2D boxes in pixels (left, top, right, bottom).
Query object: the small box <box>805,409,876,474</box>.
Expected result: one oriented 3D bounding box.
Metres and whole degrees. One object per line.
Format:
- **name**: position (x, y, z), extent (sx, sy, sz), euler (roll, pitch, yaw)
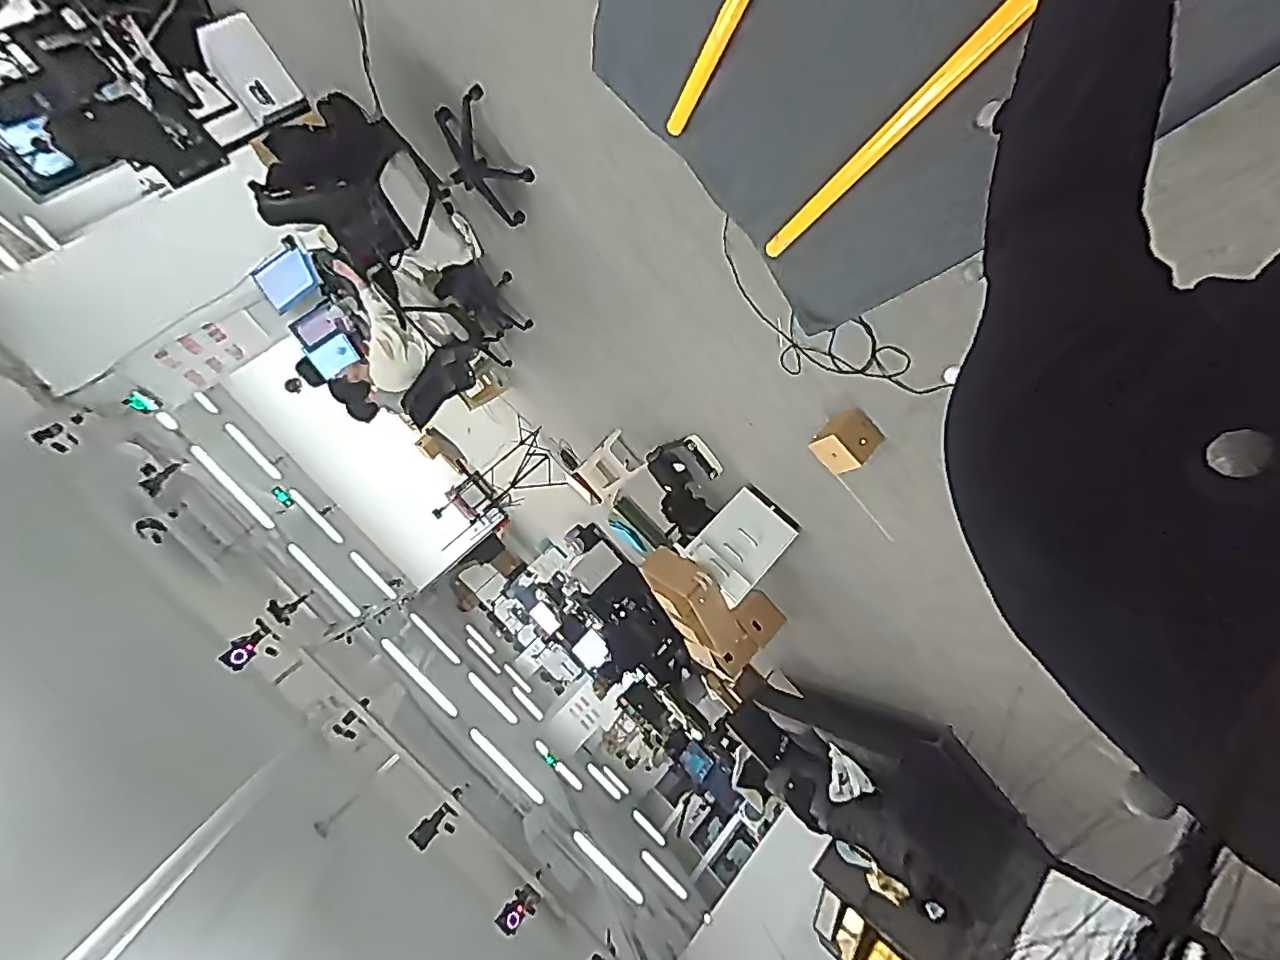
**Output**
- **small box**: position (0.798, -0.153, 2.131), extent (0.168, 0.176, 0.179), euler (47, 161, -3)
